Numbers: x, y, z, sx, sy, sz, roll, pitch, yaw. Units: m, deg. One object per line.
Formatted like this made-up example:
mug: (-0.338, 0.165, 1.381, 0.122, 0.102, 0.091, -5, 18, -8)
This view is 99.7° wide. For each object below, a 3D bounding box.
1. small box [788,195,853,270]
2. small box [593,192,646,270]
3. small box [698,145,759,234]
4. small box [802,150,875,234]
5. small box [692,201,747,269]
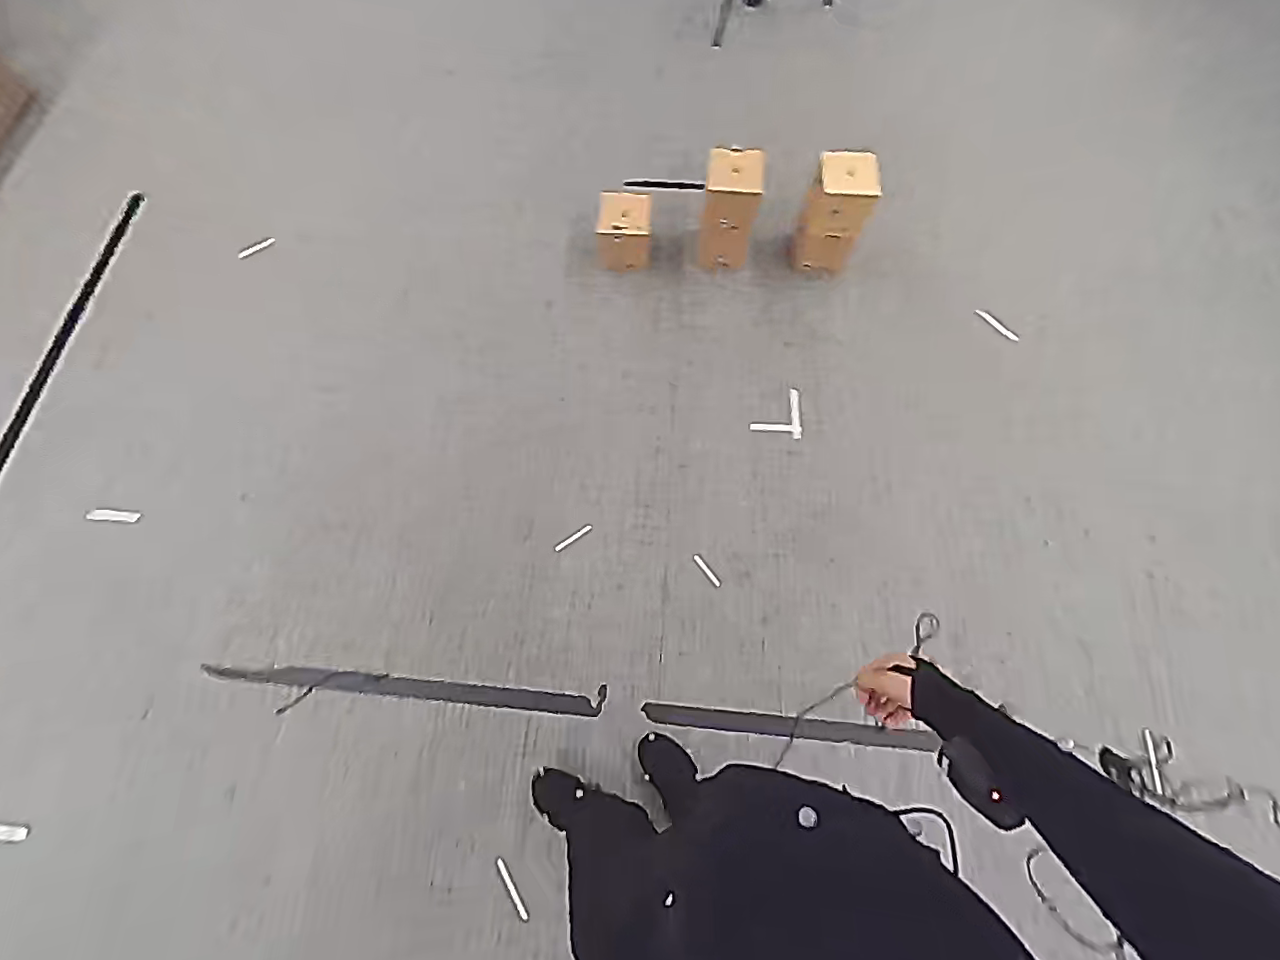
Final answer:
small box: (0.611, -0.842, 1.848, 0.168, 0.176, 0.179, 1, 69, 0)
small box: (-0.067, -0.848, 1.846, 0.168, 0.176, 0.179, 3, 69, 1)
small box: (0.273, -0.907, 1.693, 0.168, 0.176, 0.179, 4, 69, 2)
small box: (0.616, -0.899, 1.696, 0.168, 0.176, 0.179, 2, 69, 0)
small box: (0.271, -0.856, 1.849, 0.168, 0.176, 0.179, 4, 70, 1)
